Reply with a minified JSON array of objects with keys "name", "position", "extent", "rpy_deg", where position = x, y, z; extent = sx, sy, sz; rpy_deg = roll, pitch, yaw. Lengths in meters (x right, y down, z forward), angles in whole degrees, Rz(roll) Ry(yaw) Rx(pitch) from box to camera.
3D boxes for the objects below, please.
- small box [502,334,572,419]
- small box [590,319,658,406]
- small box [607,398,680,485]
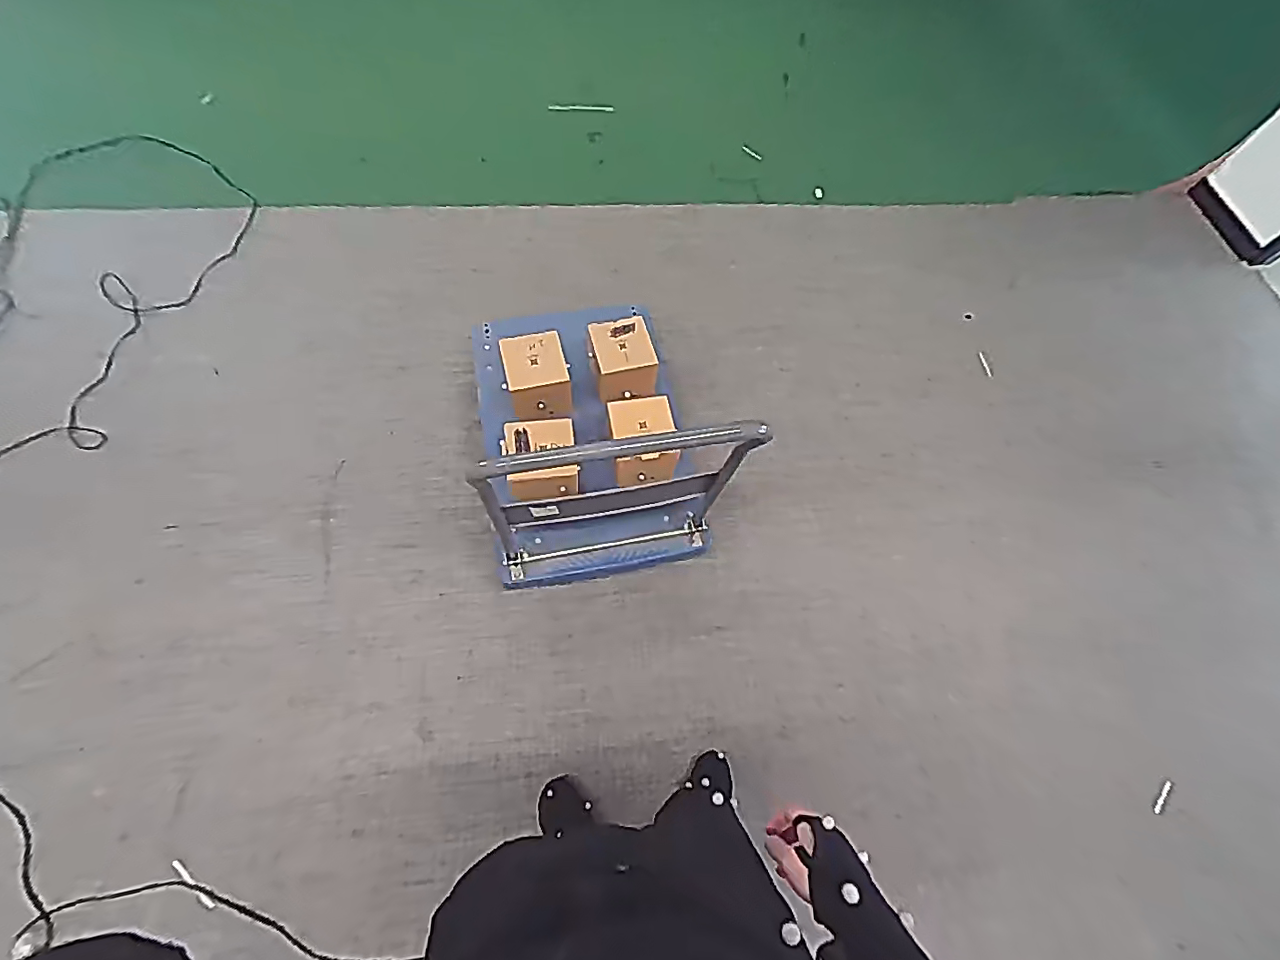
[{"name":"small box","position":[-0.295,-0.291,1.567],"extent":[0.168,0.176,0.179],"rpy_deg":[-12,67,-11]},{"name":"small box","position":[-0.054,-0.347,1.613],"extent":[0.168,0.176,0.179],"rpy_deg":[-13,68,-9]},{"name":"small box","position":[0.003,-0.105,1.507],"extent":[0.168,0.176,0.179],"rpy_deg":[-8,67,-9]}]
